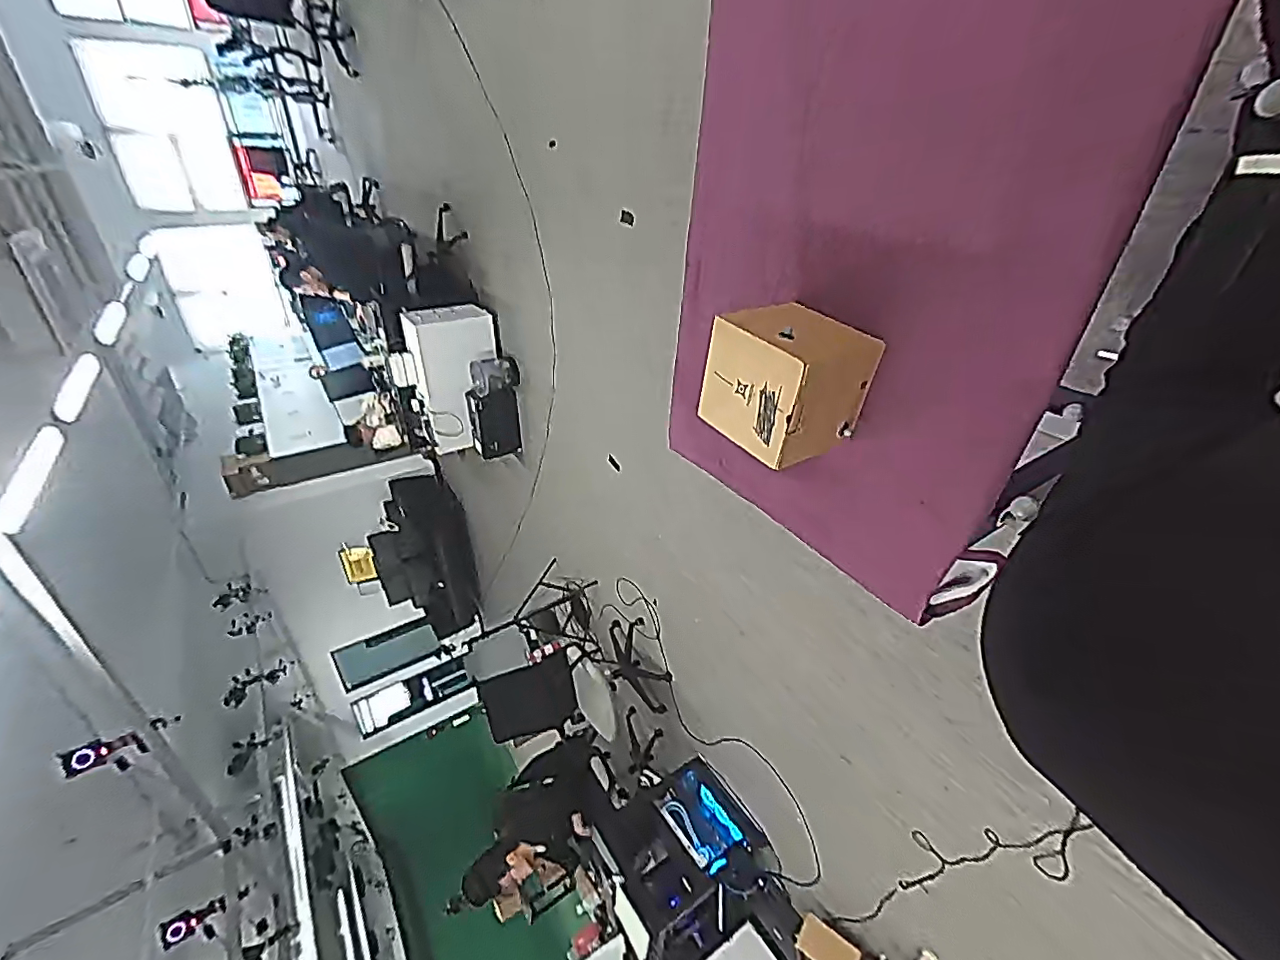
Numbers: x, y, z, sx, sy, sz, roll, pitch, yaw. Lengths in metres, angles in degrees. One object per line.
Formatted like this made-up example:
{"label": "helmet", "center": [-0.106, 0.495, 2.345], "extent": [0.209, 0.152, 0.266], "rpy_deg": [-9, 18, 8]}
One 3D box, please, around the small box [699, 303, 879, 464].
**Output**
{"label": "small box", "center": [0.215, -0.152, 0.800], "extent": [0.179, 0.176, 0.168], "rpy_deg": [44, 140, 40]}
